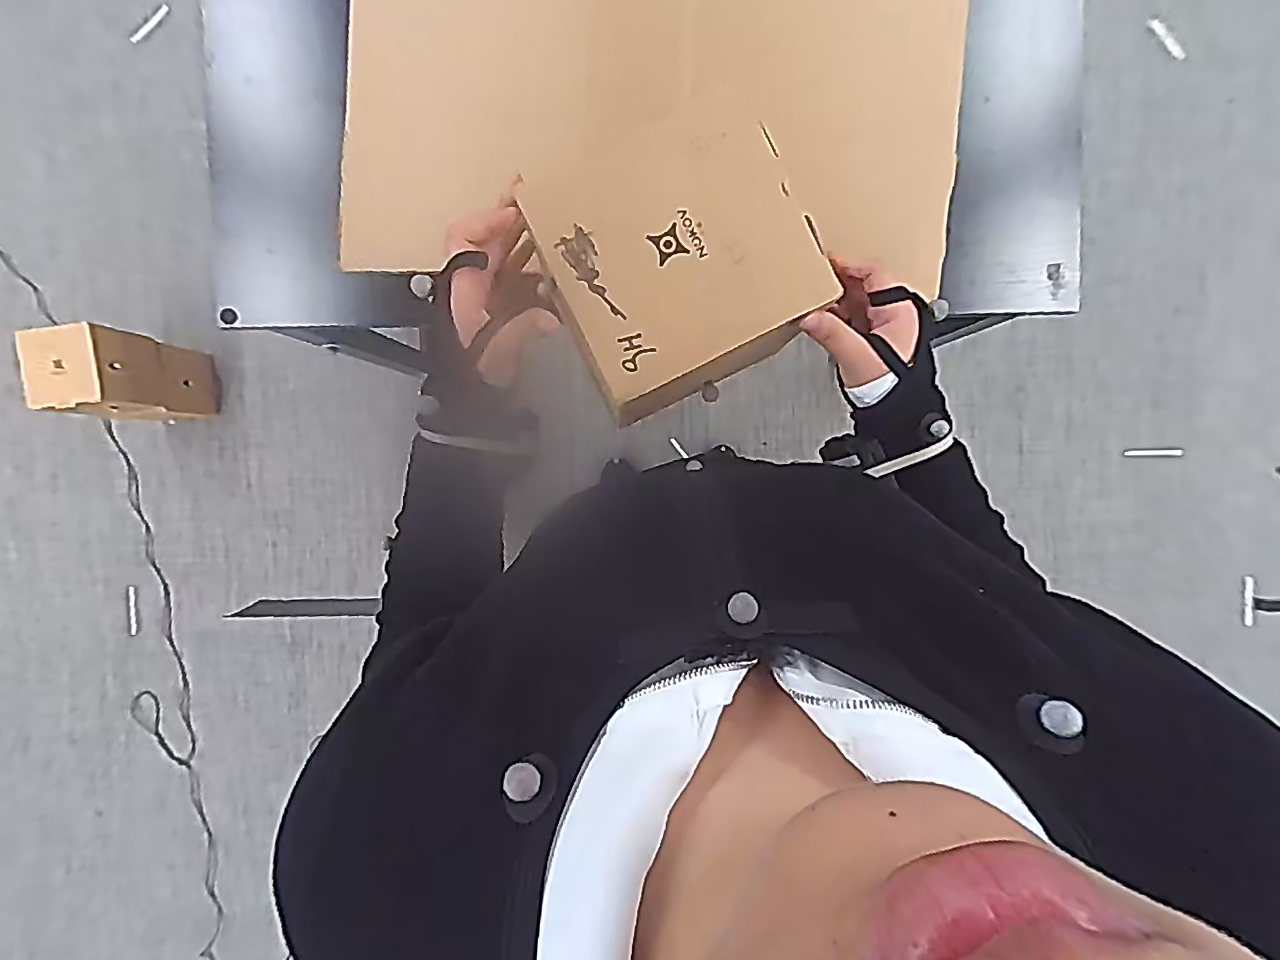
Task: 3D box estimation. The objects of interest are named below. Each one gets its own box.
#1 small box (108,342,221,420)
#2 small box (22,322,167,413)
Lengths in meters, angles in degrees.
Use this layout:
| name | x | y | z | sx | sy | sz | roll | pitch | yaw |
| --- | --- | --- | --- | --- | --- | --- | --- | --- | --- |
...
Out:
| name | x | y | z | sx | sy | sz | roll | pitch | yaw |
| --- | --- | --- | --- | --- | --- | --- | --- | --- | --- |
| small box | -1.256 | -0.255 | 1.427 | 0.168 | 0.176 | 0.179 | -5 | 93 | 1 |
| small box | -1.260 | -0.254 | 1.264 | 0.168 | 0.176 | 0.179 | -8 | 92 | 1 |
